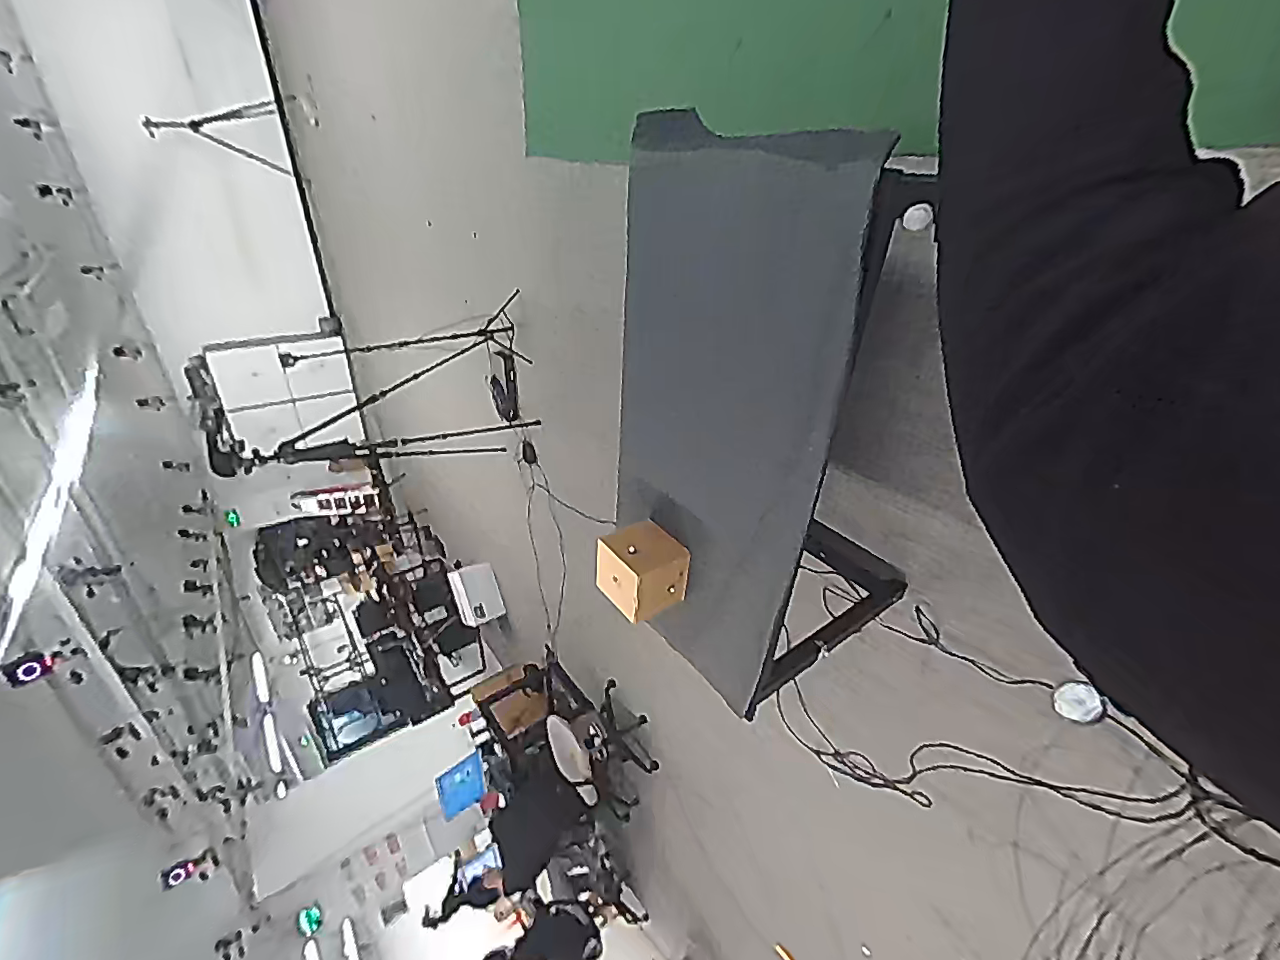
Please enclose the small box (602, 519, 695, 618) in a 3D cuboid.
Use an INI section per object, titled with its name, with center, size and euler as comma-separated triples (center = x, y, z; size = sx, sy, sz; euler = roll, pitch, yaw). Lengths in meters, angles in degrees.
[small box]
center = 0.019, 0.221, 1.411
size = 0.179, 0.176, 0.168
euler = 36, 135, 41
